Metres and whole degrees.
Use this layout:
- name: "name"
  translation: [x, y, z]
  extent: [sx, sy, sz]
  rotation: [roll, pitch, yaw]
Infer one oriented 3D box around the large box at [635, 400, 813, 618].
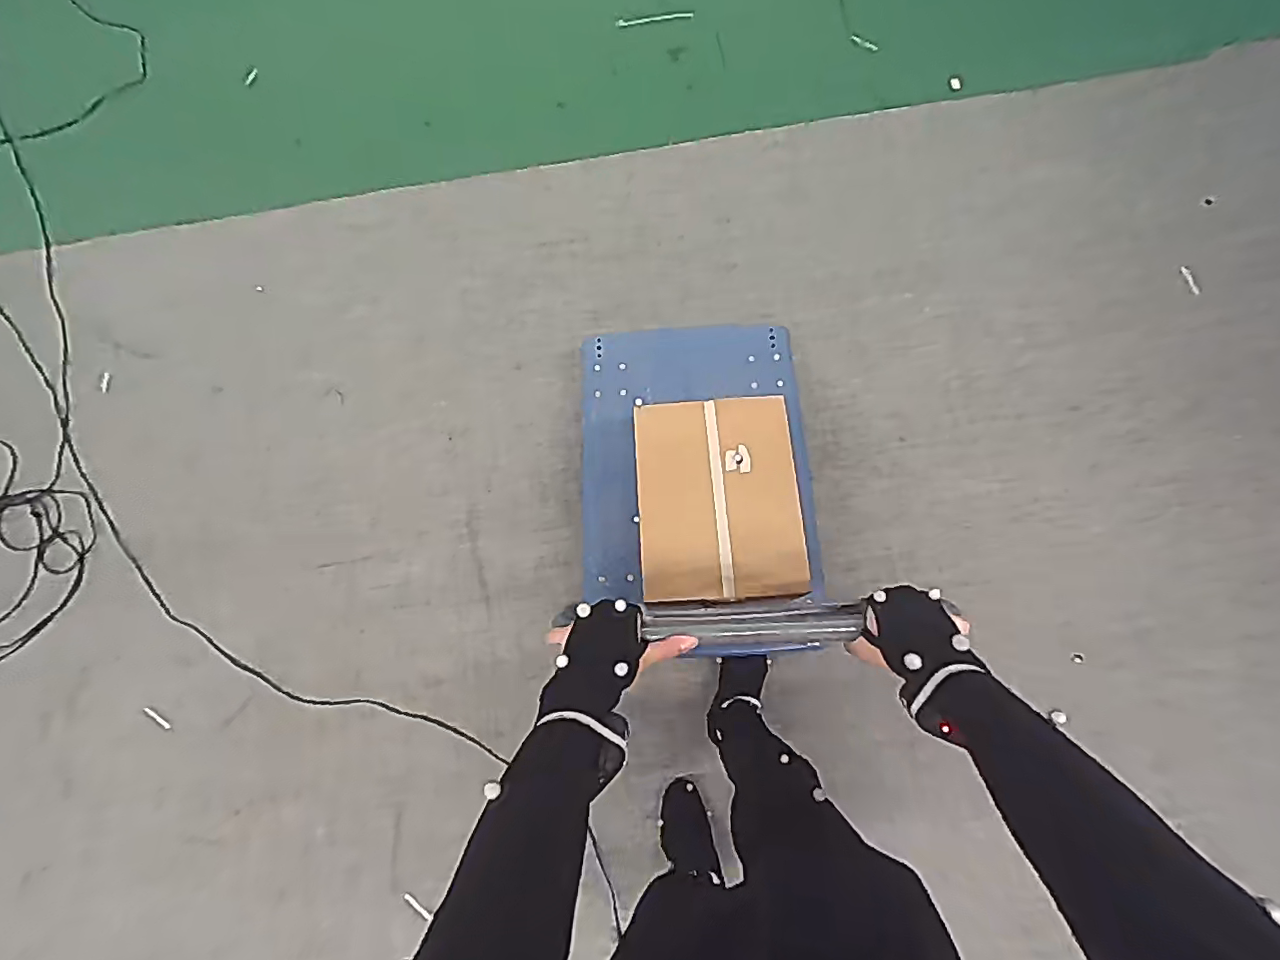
- name: "large box"
  translation: [0.164, 0.081, 1.202]
  extent: [0.320, 0.320, 0.408]
  rotation: [-4, 71, 1]
